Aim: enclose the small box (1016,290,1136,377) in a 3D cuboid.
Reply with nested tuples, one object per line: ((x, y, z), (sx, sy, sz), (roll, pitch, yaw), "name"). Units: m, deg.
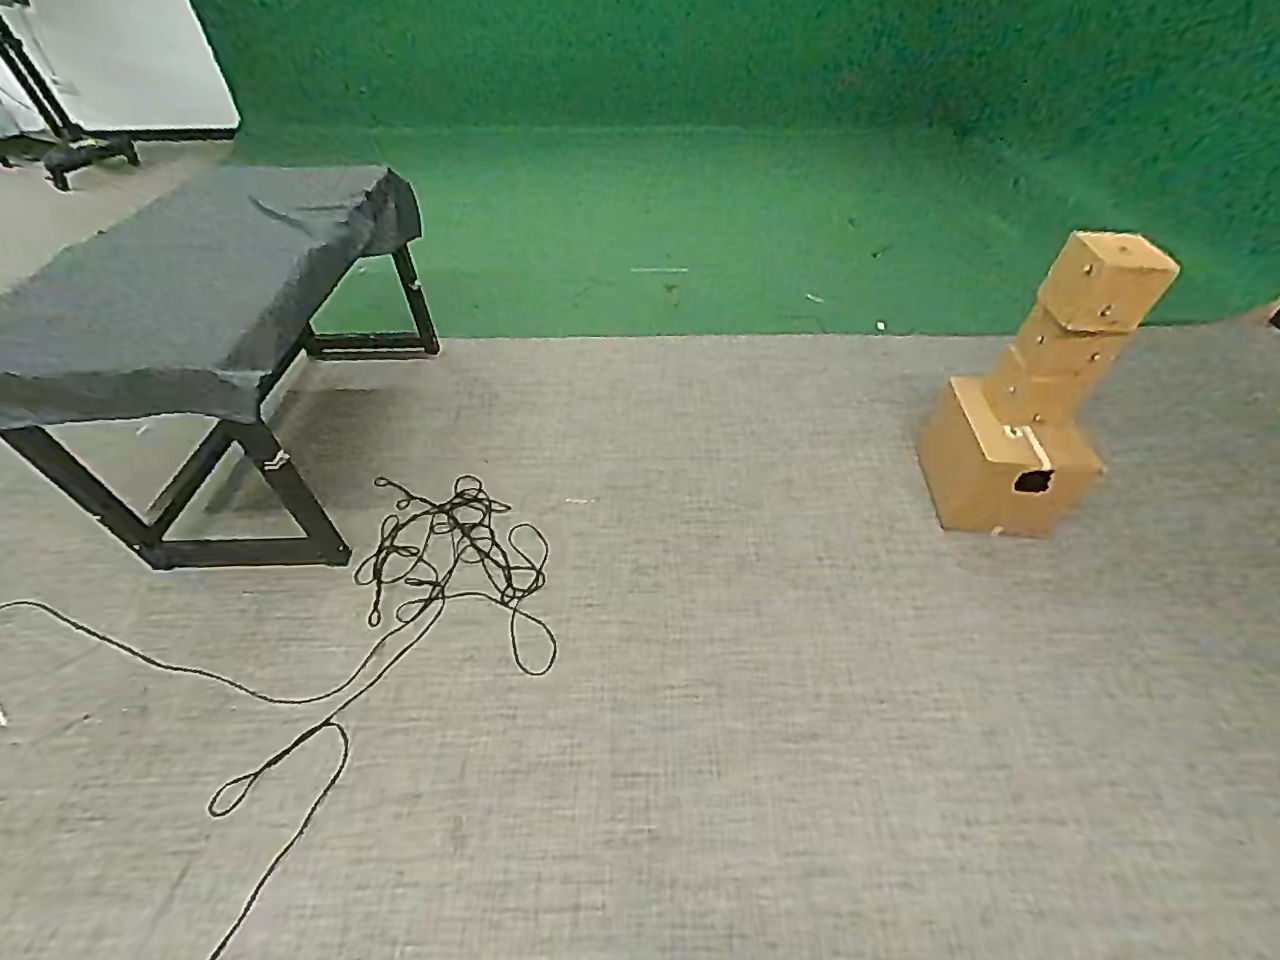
((1.160, -0.398, 1.456), (0.168, 0.176, 0.179), (8, 47, 7), "small box")

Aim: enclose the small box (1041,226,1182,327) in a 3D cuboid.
((1.140, -0.499, 1.328), (0.168, 0.176, 0.179), (3, 48, 2), "small box")

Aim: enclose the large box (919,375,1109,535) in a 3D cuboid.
((1.145, -0.083, 1.719), (0.320, 0.320, 0.408), (3, 48, 5), "large box")
